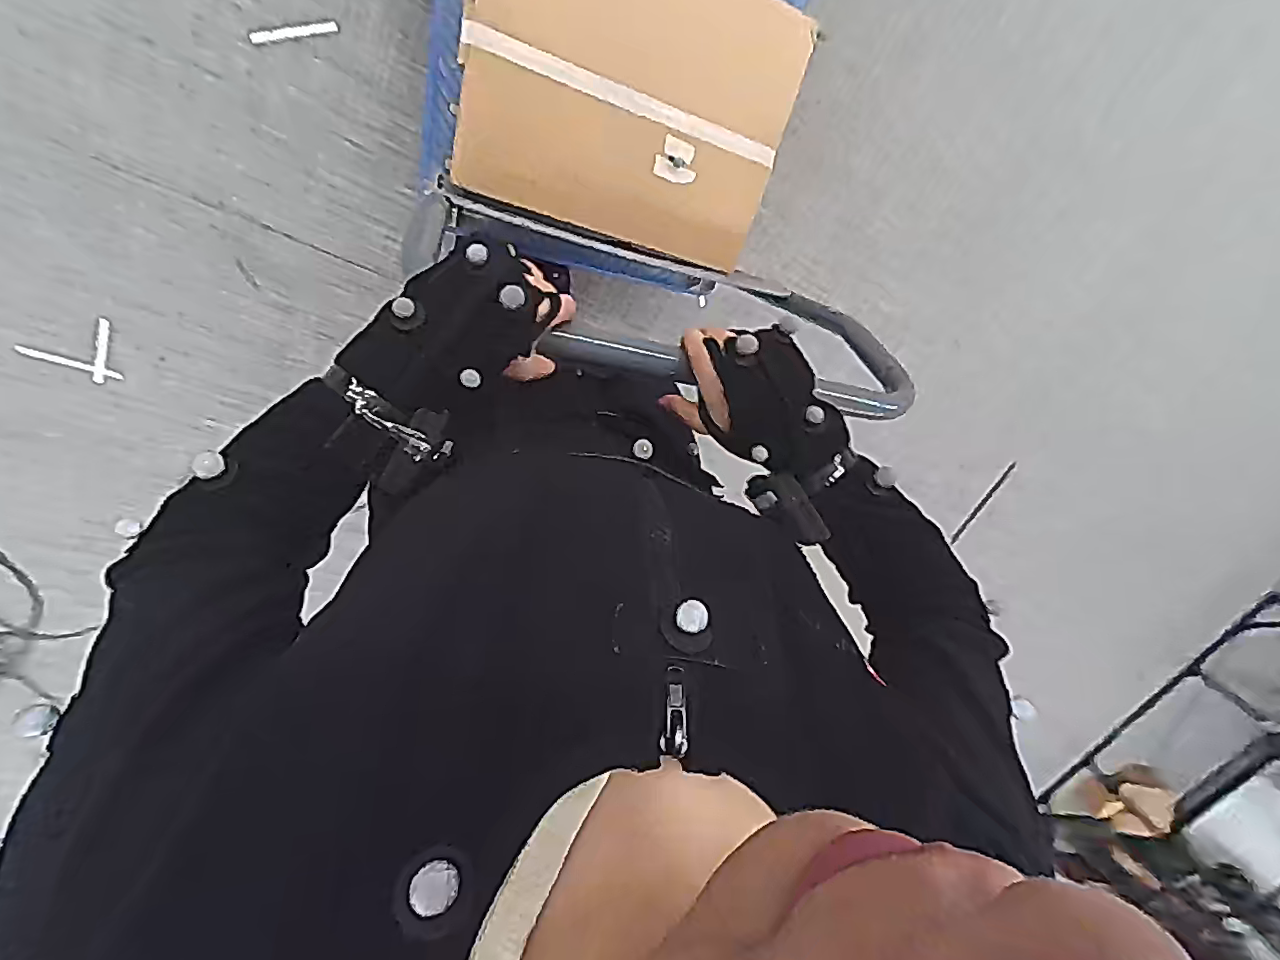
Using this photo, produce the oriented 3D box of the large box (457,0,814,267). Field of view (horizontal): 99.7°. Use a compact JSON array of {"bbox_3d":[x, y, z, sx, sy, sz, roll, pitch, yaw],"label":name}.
[{"bbox_3d":[-0.044,-0.542,0.795,0.408,0.320,0.320,8,117,-23],"label":"large box"}]
